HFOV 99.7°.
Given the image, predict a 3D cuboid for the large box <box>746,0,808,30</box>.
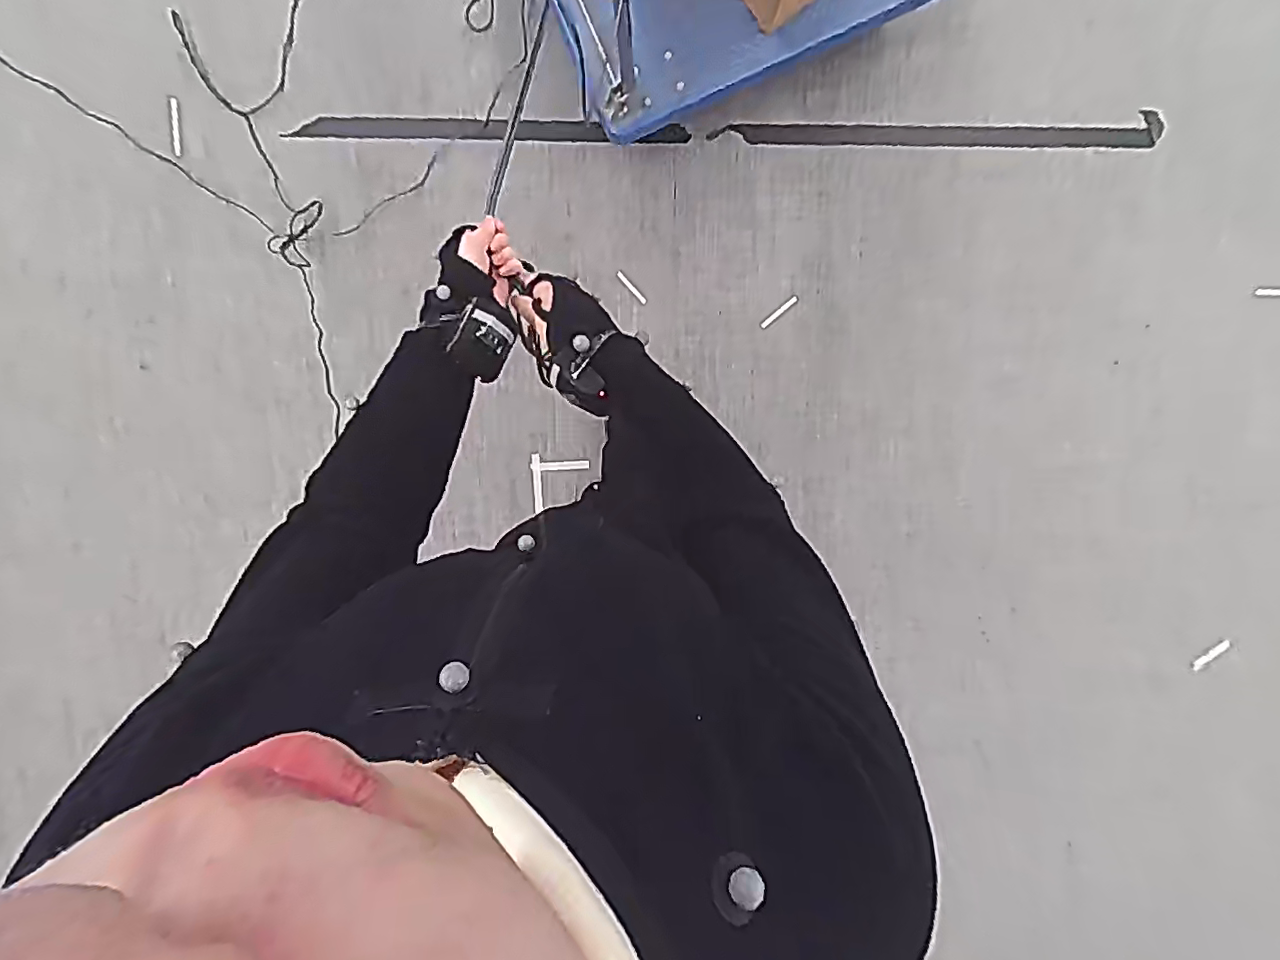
[{"bbox_3d":[0.282,-1.220,1.024,0.320,0.320,0.408,-38,96,4],"label":"large box"}]
